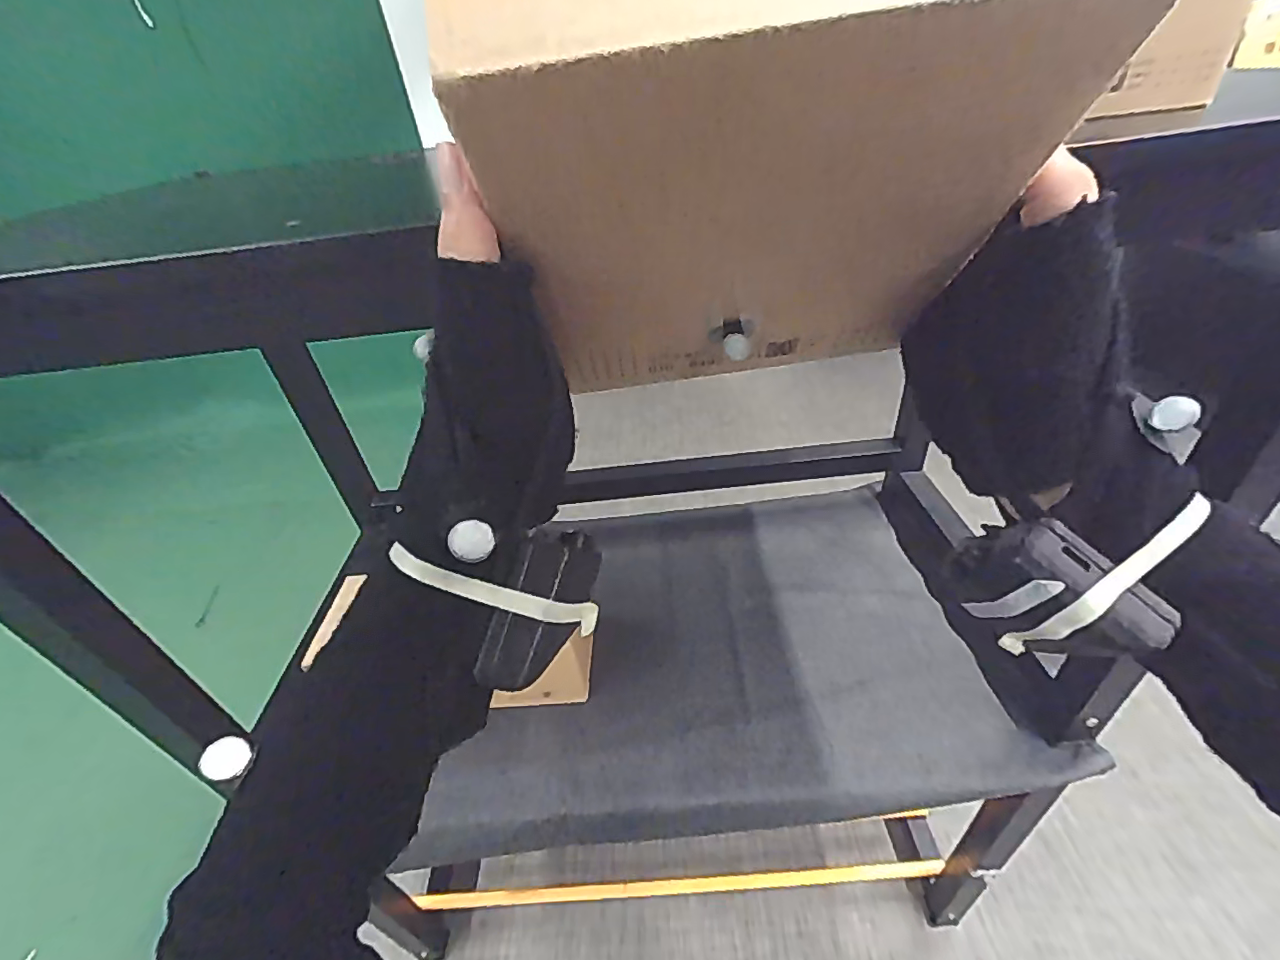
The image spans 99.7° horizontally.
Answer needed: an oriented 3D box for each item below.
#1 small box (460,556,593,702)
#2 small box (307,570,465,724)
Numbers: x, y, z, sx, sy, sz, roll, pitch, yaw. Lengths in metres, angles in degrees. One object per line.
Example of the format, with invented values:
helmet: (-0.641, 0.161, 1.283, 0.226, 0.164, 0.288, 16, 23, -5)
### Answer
small box: (-0.174, 0.250, 0.895, 0.168, 0.176, 0.179, -5, 36, 3)
small box: (-0.400, 0.275, 0.897, 0.168, 0.176, 0.179, -5, 37, 2)
